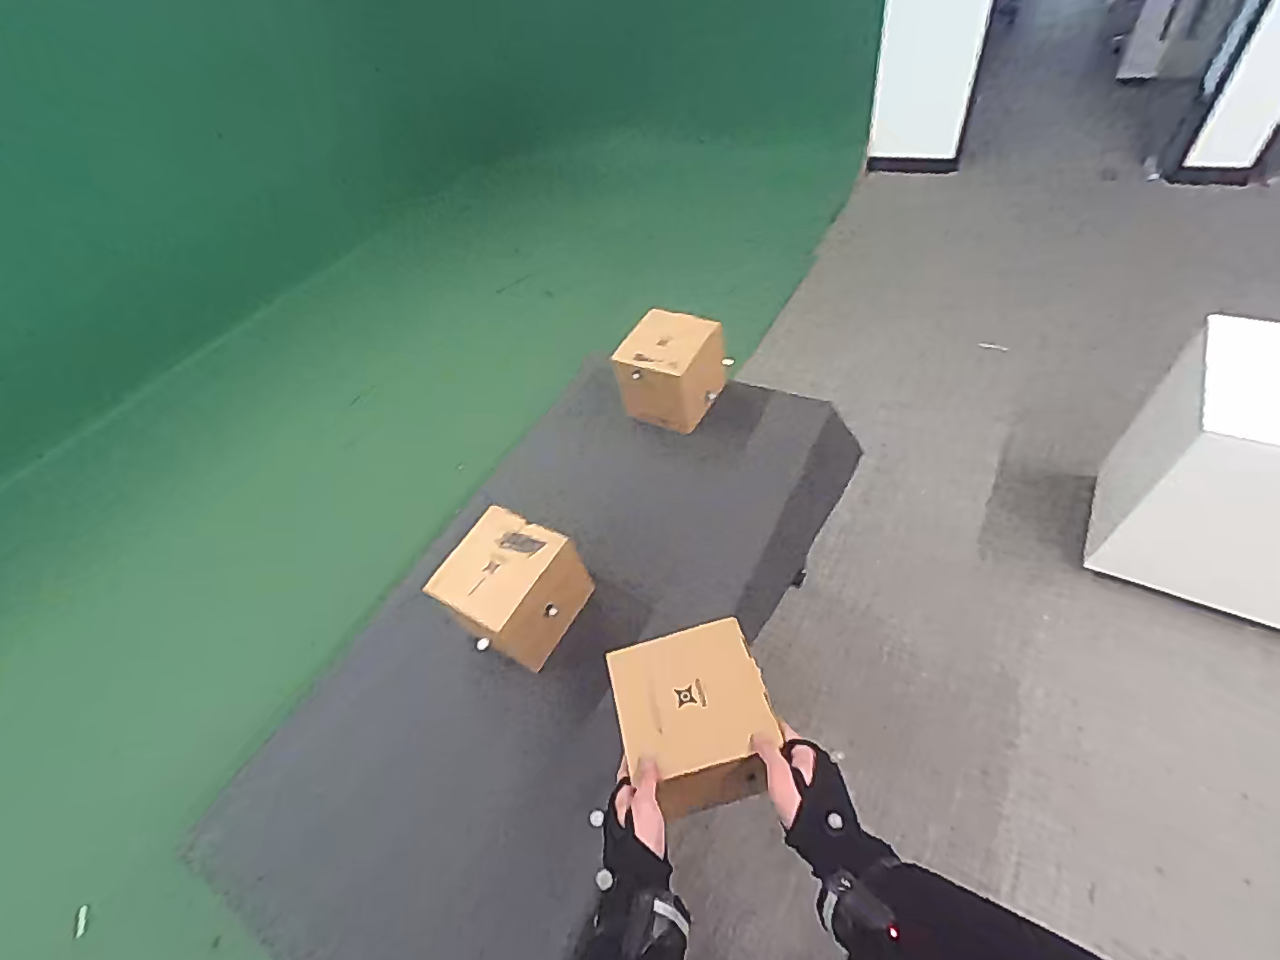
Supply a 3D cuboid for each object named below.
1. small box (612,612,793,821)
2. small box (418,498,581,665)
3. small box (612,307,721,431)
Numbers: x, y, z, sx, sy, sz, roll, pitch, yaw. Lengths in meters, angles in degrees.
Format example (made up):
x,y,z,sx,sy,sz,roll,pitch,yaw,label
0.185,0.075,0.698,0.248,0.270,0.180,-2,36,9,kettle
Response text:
x,y,z,sx,sy,sz,roll,pitch,yaw,label
0.076,0.299,0.681,0.179,0.176,0.168,-16,44,-2,small box
-0.213,0.166,0.880,0.168,0.176,0.179,21,58,26,small box
0.063,-0.236,1.155,0.168,0.176,0.179,21,58,26,small box
